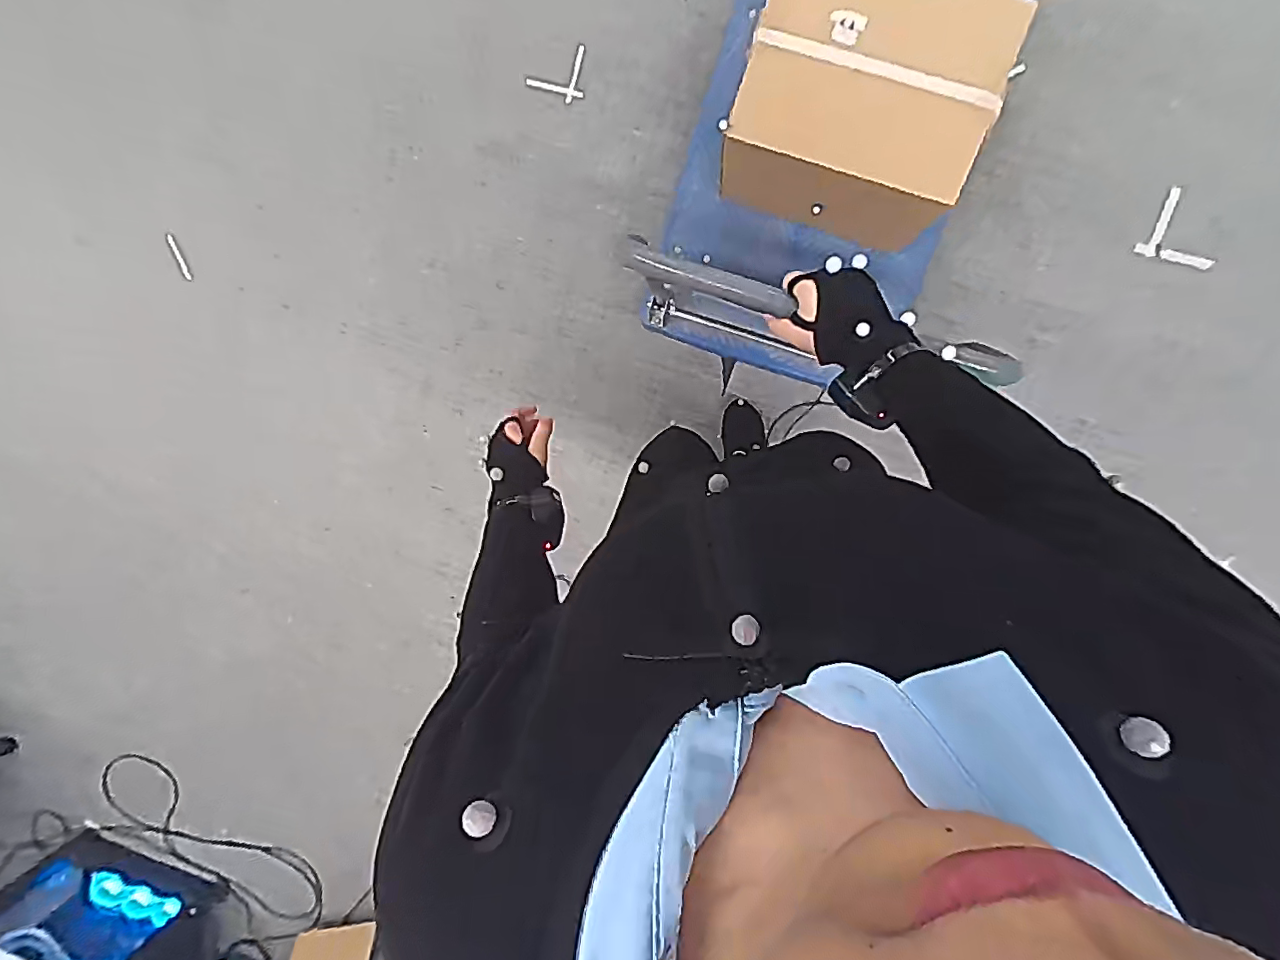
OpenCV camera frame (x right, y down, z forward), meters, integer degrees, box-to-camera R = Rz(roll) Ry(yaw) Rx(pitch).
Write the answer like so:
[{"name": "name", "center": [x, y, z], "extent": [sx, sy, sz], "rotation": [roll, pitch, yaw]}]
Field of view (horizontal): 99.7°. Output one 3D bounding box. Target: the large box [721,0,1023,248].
[{"name": "large box", "center": [0.396, -0.689, 1.041], "extent": [0.408, 0.320, 0.320], "rotation": [19, 100, 5]}]
